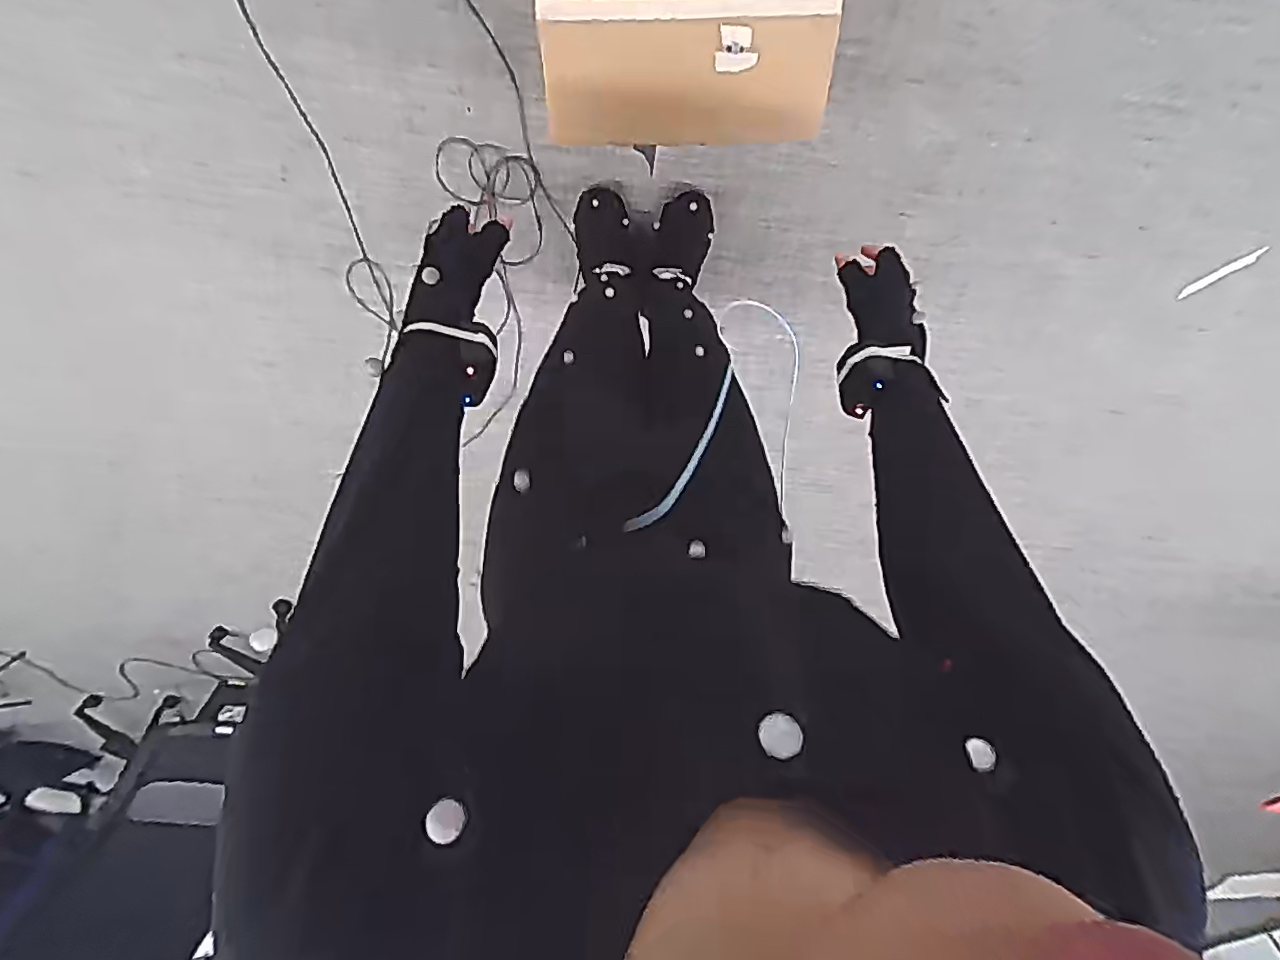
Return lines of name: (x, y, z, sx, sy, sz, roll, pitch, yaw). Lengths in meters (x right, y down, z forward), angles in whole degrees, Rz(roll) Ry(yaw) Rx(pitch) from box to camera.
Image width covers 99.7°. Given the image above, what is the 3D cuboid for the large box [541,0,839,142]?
large box: (0.065, -0.726, 0.833, 0.408, 0.320, 0.320, 0, 129, 0)
